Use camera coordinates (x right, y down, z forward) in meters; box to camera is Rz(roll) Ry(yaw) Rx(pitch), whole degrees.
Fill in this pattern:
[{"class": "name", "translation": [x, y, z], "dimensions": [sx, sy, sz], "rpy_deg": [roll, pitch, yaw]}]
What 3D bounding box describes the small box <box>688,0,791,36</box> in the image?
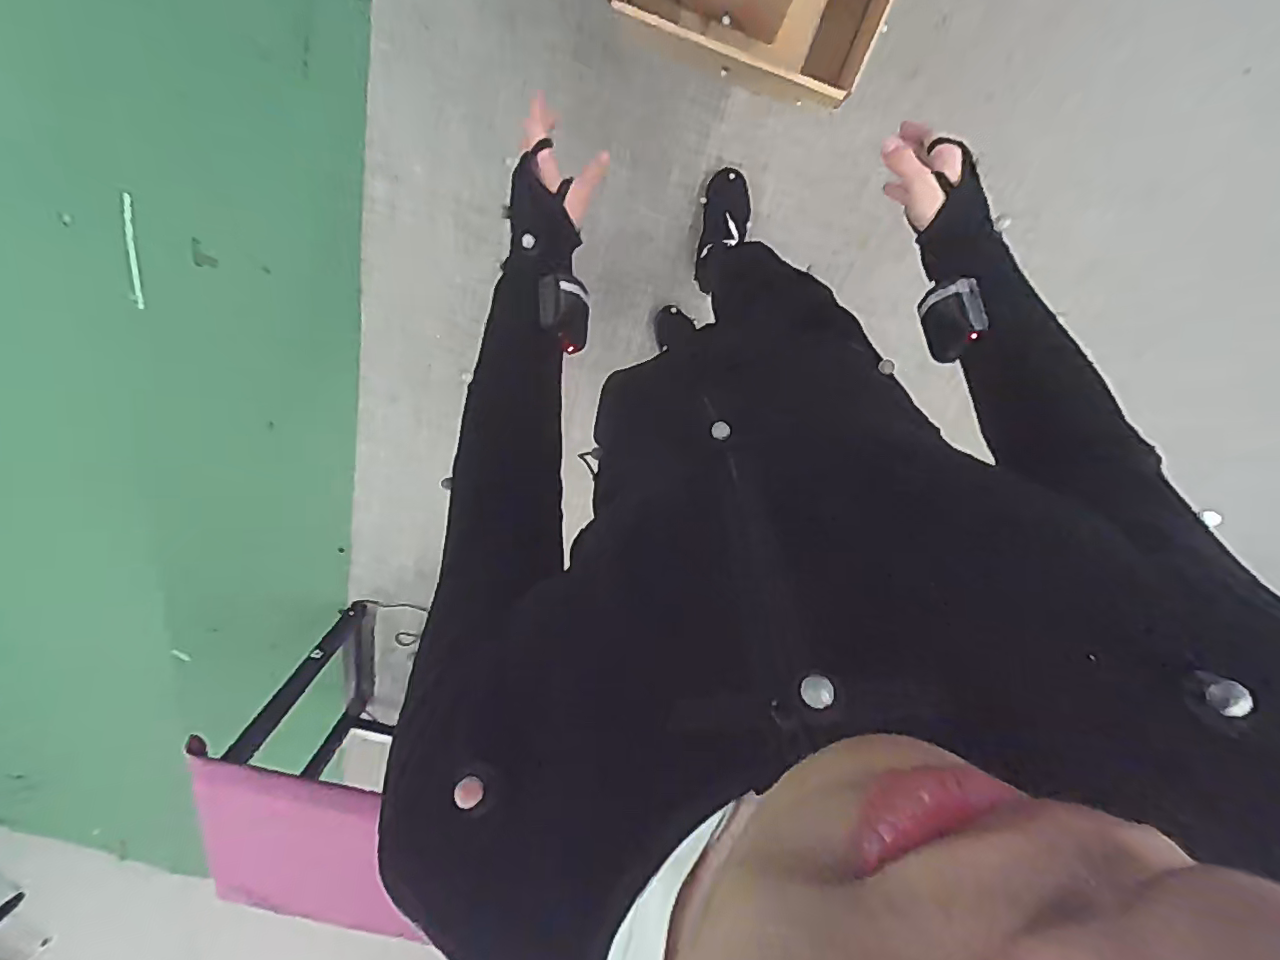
[{"class": "small box", "translation": [0.162, -0.784, 0.767], "dimensions": [0.168, 0.176, 0.179], "rpy_deg": [19, 115, -3]}]
